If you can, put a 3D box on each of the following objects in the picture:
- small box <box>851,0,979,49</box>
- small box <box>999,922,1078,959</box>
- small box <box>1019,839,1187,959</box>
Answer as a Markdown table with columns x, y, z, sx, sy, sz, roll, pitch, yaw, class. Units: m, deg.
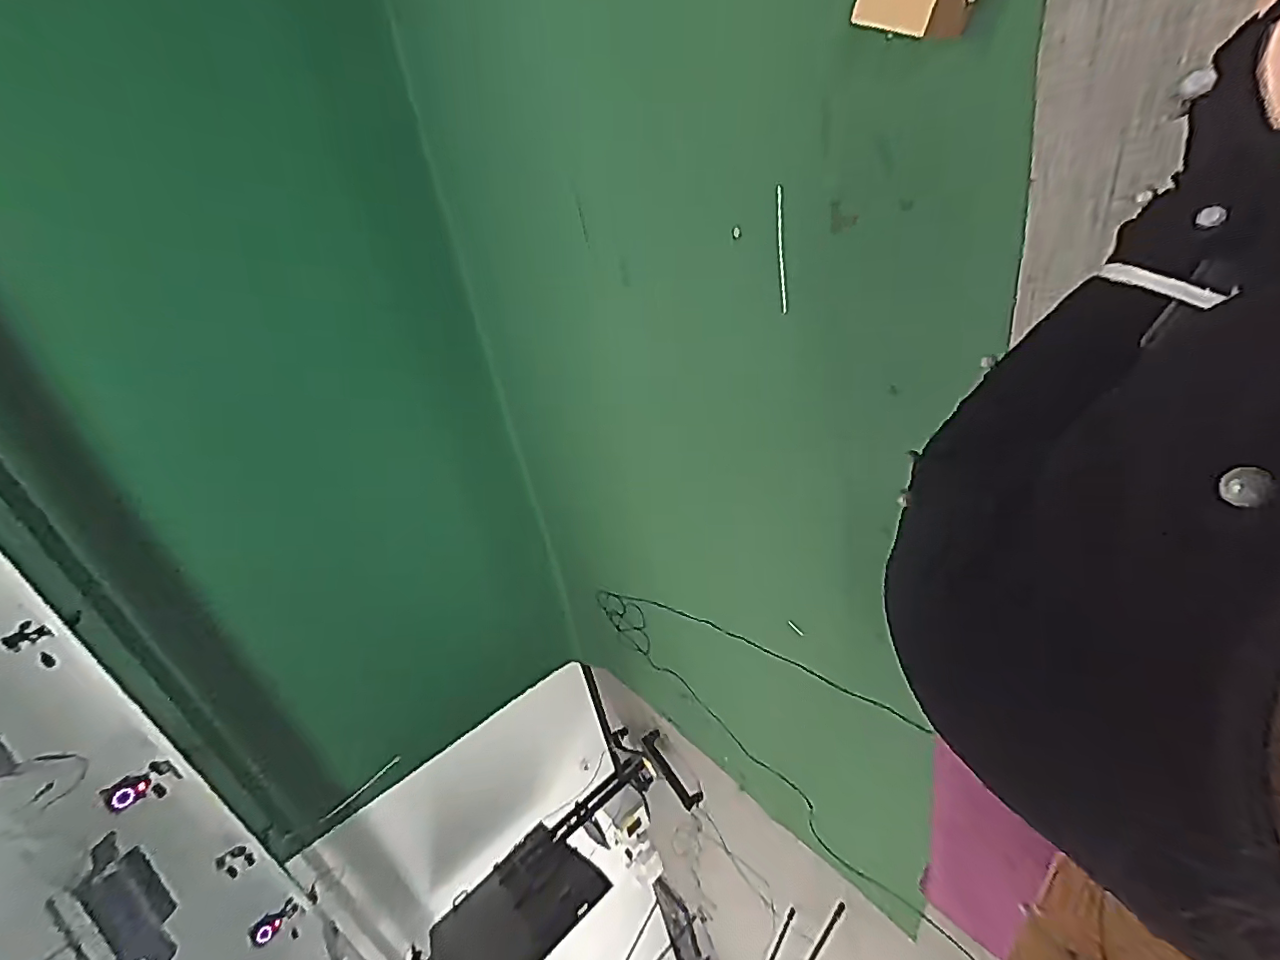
| x | y | z | sx | sy | sz | roll | pitch | yaw | class |
| --- | --- | --- | --- | --- | --- | --- | --- | --- | --- |
| 0.577 | -1.000 | 1.105 | 0.179 | 0.176 | 0.168 | 43 | 144 | 29 | small box |
| 0.584 | 0.789 | 0.762 | 0.168 | 0.176 | 0.179 | 23 | 132 | 47 | small box |
| 0.709 | 0.723 | 0.847 | 0.168 | 0.176 | 0.179 | 24 | 132 | 45 | small box |
